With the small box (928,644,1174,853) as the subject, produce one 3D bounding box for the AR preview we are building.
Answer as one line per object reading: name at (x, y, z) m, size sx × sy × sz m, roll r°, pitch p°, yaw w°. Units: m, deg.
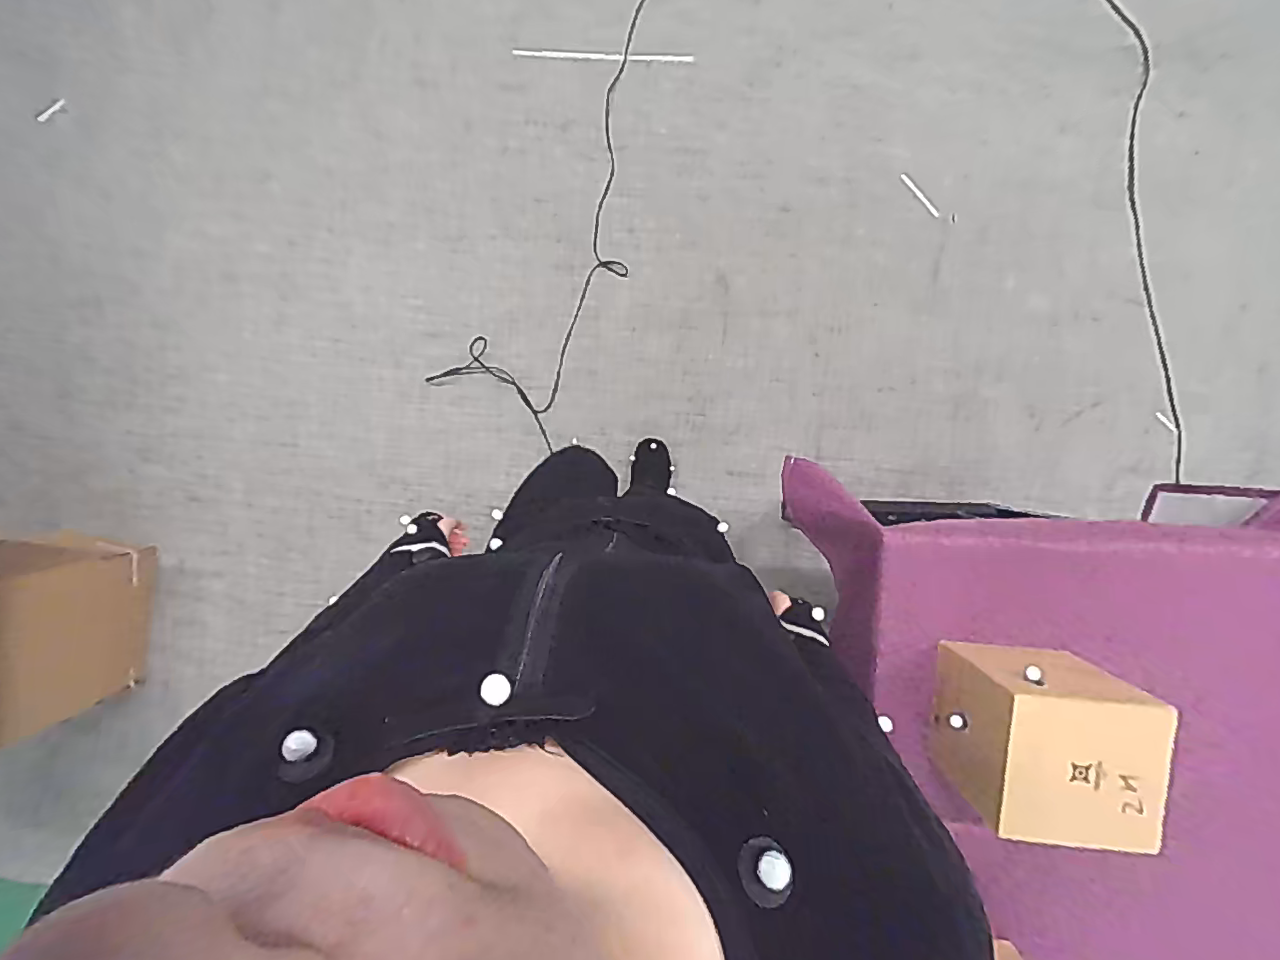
small box at (0.488, 0.316, 0.673) m, size 0.179 × 0.176 × 0.168 m, roll 5°, pitch 95°, yaw 2°
